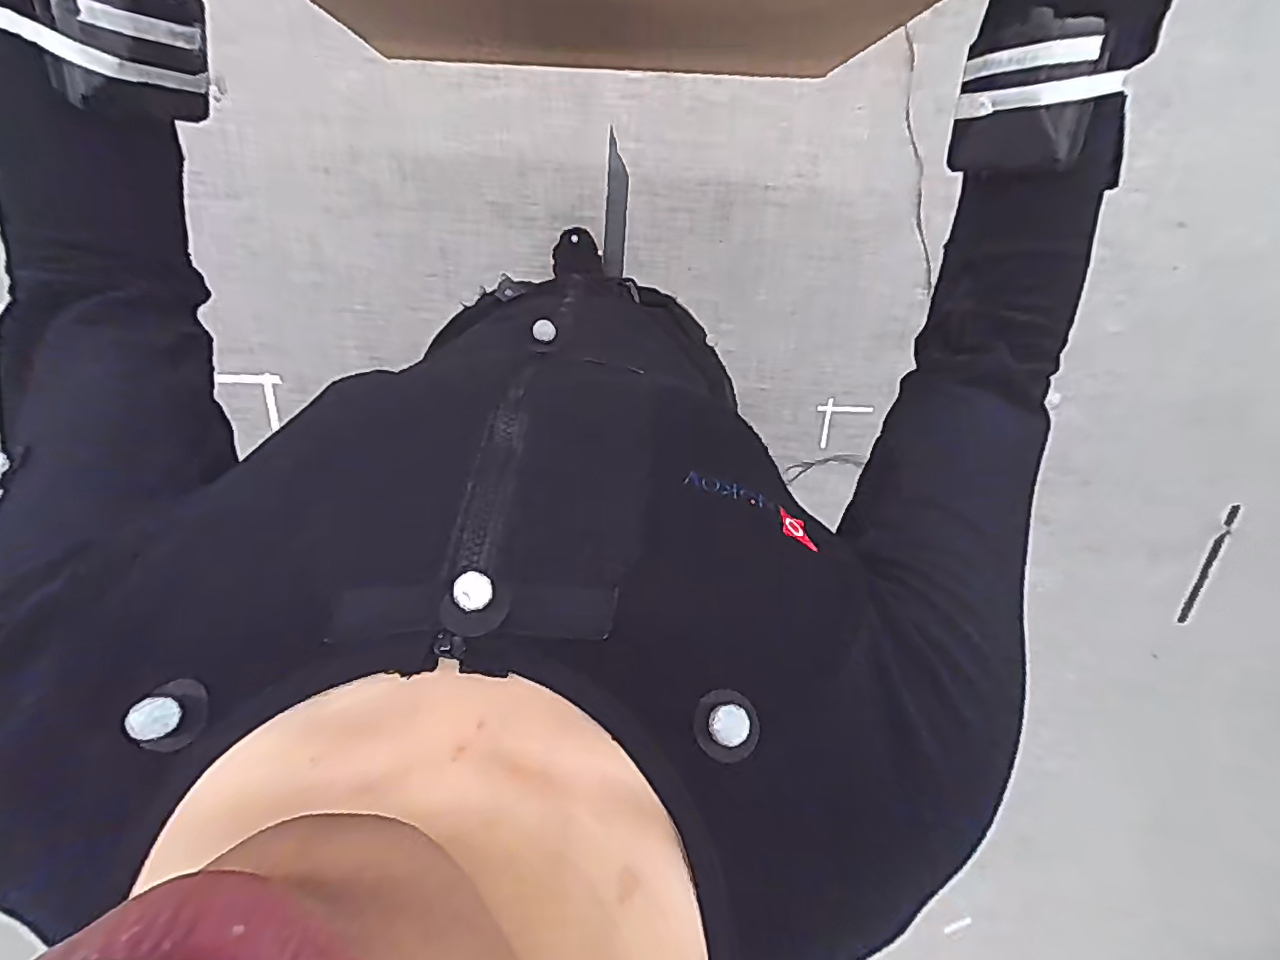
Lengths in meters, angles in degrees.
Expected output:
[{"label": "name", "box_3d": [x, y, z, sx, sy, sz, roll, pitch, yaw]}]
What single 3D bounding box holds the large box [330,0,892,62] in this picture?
[{"label": "large box", "box_3d": [-0.019, -0.461, 0.297, 0.408, 0.320, 0.320, -1, 116, -4]}]
